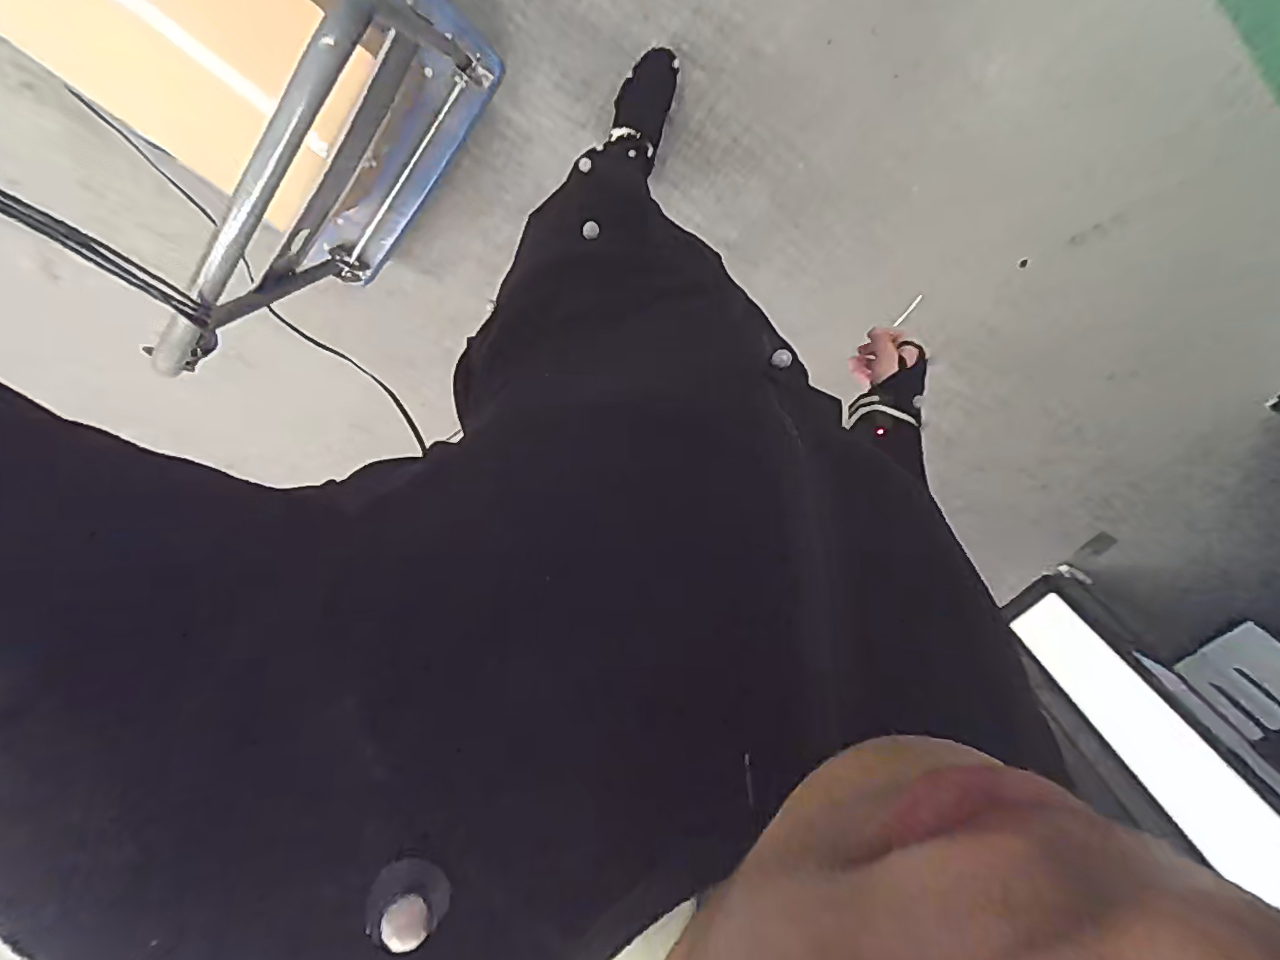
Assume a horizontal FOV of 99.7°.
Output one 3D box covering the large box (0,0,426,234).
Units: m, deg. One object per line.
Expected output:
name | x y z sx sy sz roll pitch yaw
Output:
large box | -0.635 -0.684 0.879 0.408 0.320 0.320 35 113 -25
